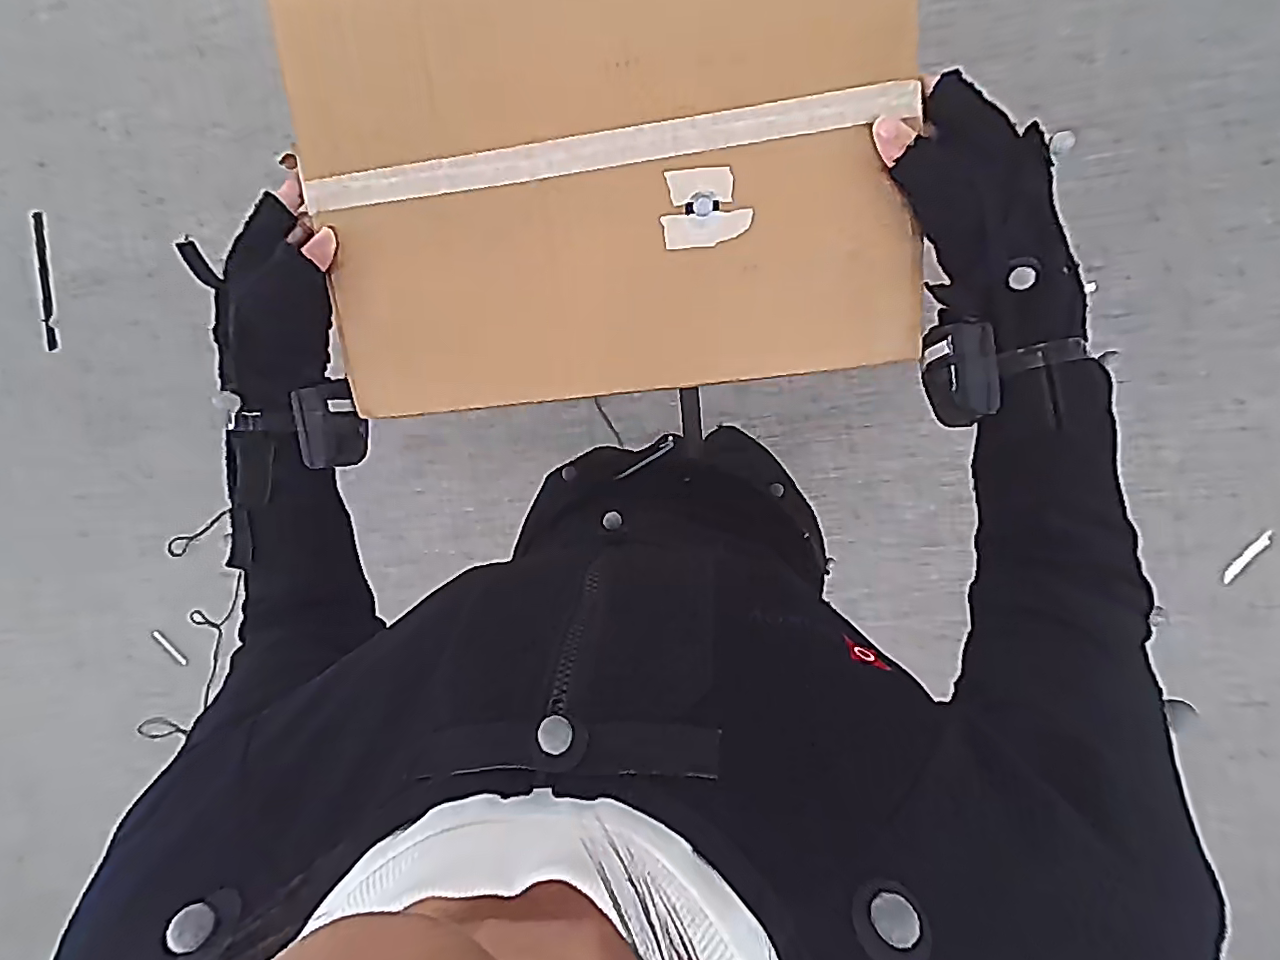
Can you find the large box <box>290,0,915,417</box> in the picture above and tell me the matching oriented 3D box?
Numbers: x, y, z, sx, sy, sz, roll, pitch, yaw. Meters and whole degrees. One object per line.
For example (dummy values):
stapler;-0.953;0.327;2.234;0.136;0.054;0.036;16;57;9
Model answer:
large box;-0.013;-0.250;0.513;0.408;0.320;0.320;-6;102;6
